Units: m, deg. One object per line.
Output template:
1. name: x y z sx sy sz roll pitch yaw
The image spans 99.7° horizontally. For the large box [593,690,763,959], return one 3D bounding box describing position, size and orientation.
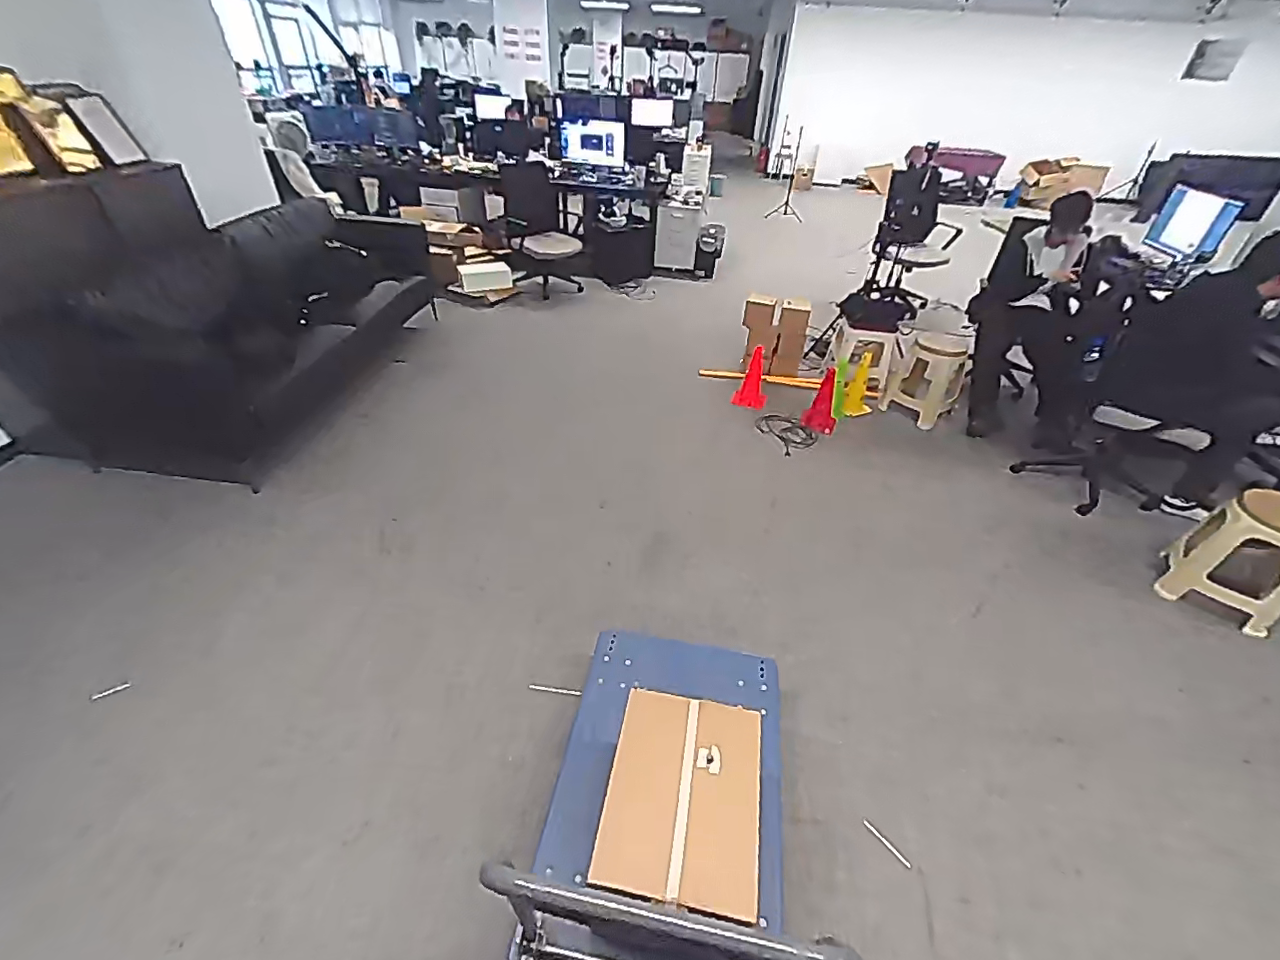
1. large box: 0.092 0.755 1.204 0.320 0.320 0.408 9 37 7
